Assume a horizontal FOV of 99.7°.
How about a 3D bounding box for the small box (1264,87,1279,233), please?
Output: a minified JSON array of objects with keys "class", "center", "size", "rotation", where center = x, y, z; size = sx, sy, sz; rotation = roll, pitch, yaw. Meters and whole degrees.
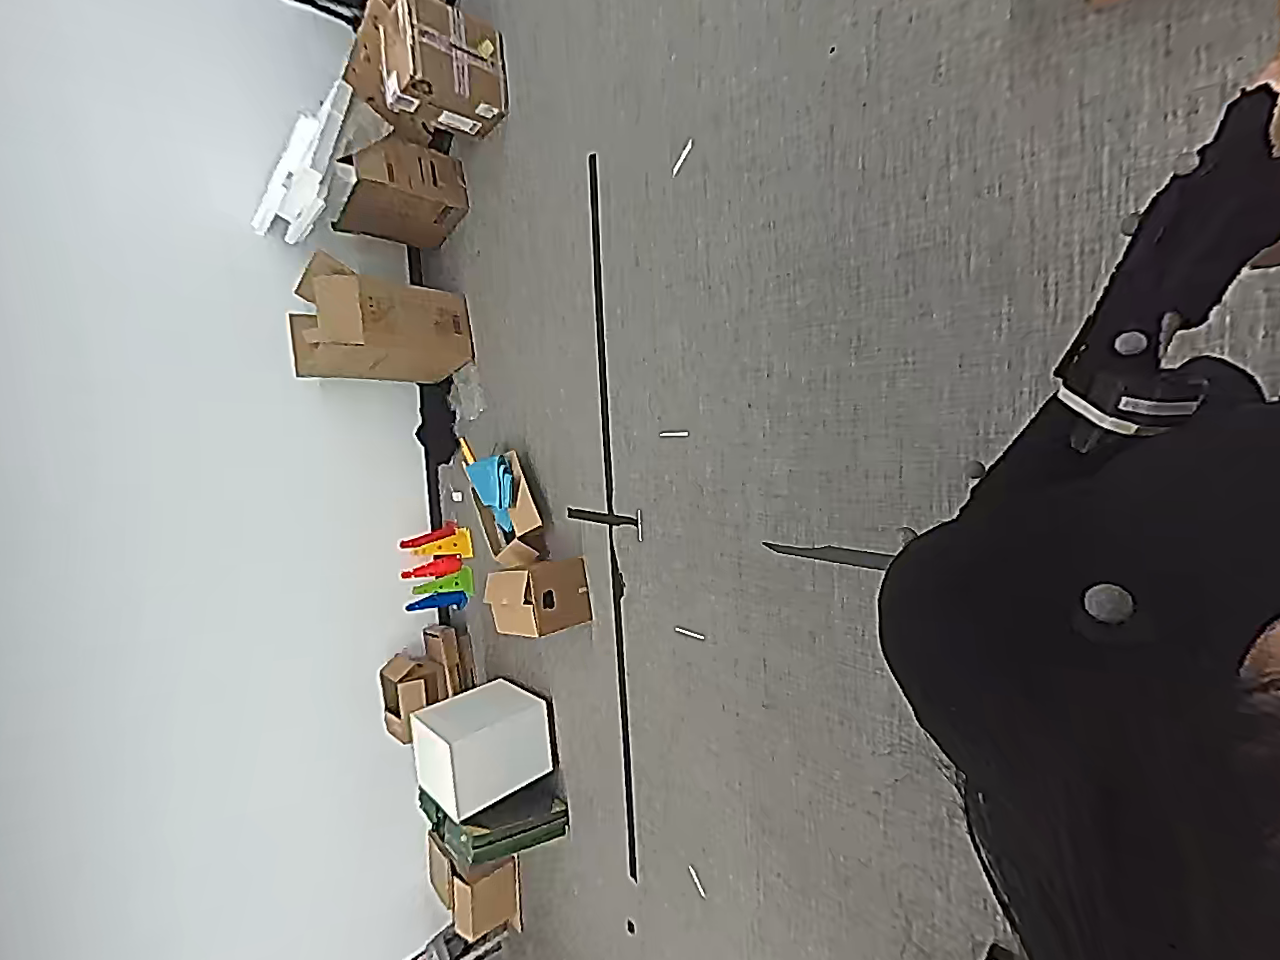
[{"class":"small box","center":[0.518,-0.270,0.330],"size":[0.168,0.176,0.179],"rotation":[7,88,47]}]
